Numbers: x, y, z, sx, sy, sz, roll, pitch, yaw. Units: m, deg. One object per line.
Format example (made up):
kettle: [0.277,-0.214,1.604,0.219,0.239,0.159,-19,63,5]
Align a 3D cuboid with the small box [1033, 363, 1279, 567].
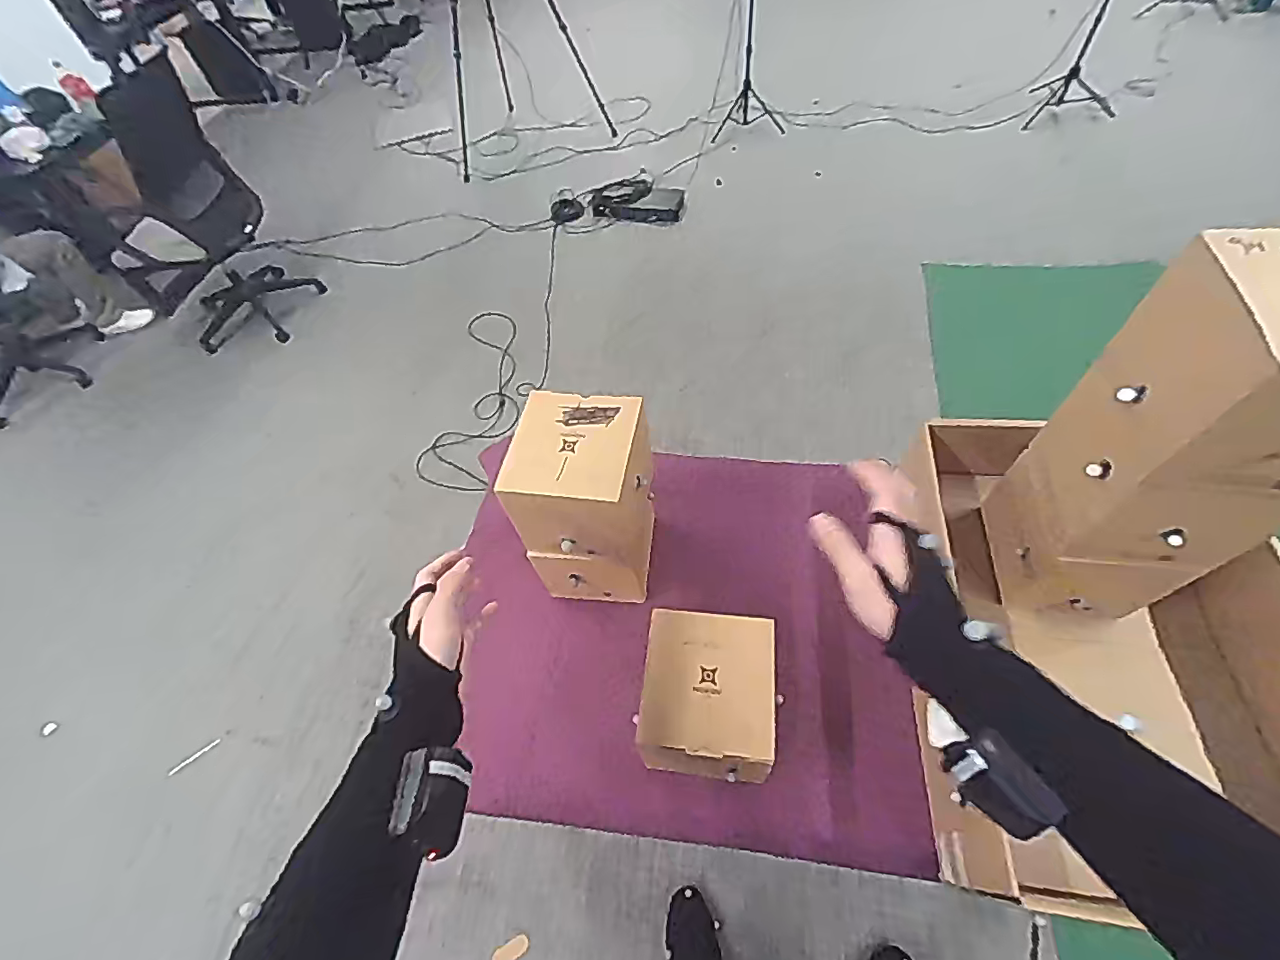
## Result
small box: [0.602,-0.014,0.632,0.168,0.176,0.179,5,57,11]

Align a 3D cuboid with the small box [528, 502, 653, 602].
small box: [-0.070,0.092,0.909,0.168,0.176,0.179,2,54,8]

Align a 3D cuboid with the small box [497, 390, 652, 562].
small box: [-0.079,-0.004,0.776,0.168,0.176,0.179,5,56,11]

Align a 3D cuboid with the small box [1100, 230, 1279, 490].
small box: [0.578,-0.103,0.497,0.168,0.176,0.179,5,59,11]
